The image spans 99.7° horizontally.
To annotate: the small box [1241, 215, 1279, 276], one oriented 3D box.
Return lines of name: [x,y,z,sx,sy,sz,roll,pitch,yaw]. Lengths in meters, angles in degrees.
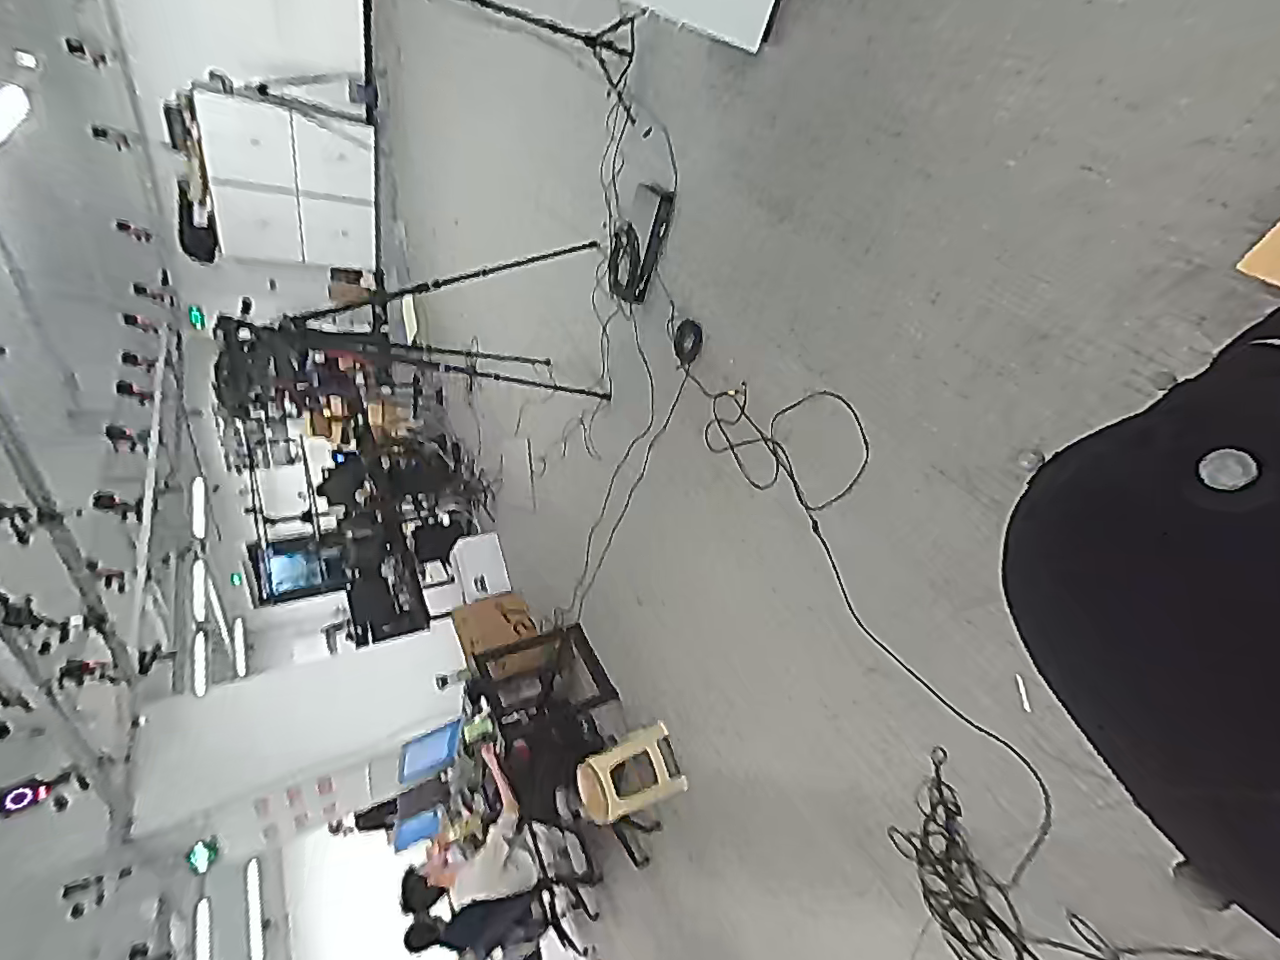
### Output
small box: [1.130,-0.383,0.847,0.179,0.176,0.168,54,138,35]
